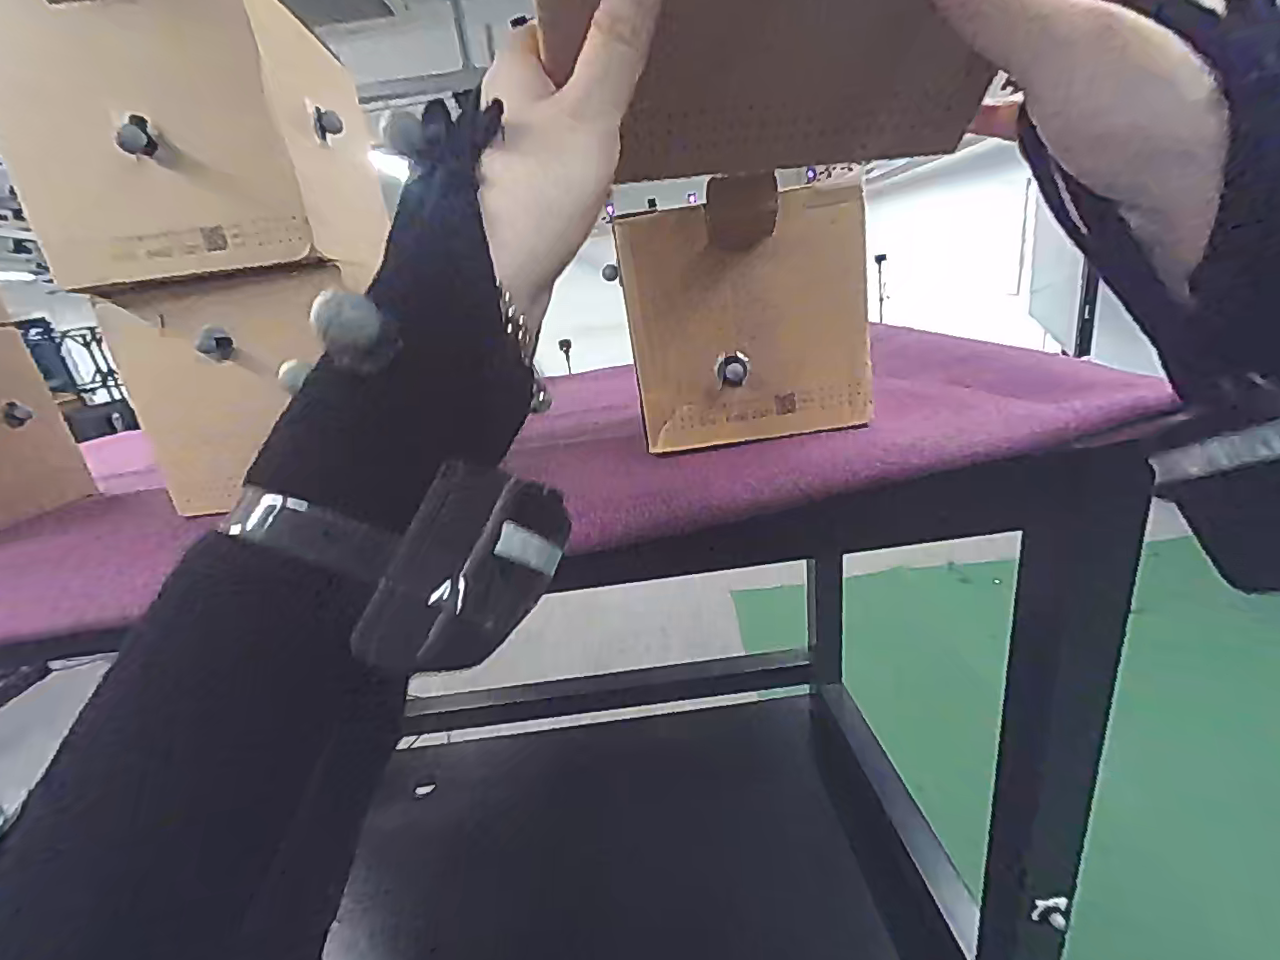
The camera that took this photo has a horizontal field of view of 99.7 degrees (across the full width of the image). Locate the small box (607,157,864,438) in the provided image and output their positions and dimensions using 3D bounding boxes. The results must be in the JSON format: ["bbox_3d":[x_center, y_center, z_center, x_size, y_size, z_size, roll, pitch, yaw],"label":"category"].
[{"bbox_3d":[0.073,-0.139,0.448,0.168,0.176,0.179,-8,18,4],"label":"small box"}]

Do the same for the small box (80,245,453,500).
[{"bbox_3d":[-0.284,-0.090,0.460,0.179,0.176,0.168,-7,19,1],"label":"small box"}]

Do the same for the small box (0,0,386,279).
[{"bbox_3d":[-0.311,-0.239,0.396,0.168,0.176,0.179,-9,19,-3],"label":"small box"}]

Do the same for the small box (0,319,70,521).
[{"bbox_3d":[-0.628,-0.027,0.429,0.168,0.176,0.179,-10,21,-3],"label":"small box"}]
